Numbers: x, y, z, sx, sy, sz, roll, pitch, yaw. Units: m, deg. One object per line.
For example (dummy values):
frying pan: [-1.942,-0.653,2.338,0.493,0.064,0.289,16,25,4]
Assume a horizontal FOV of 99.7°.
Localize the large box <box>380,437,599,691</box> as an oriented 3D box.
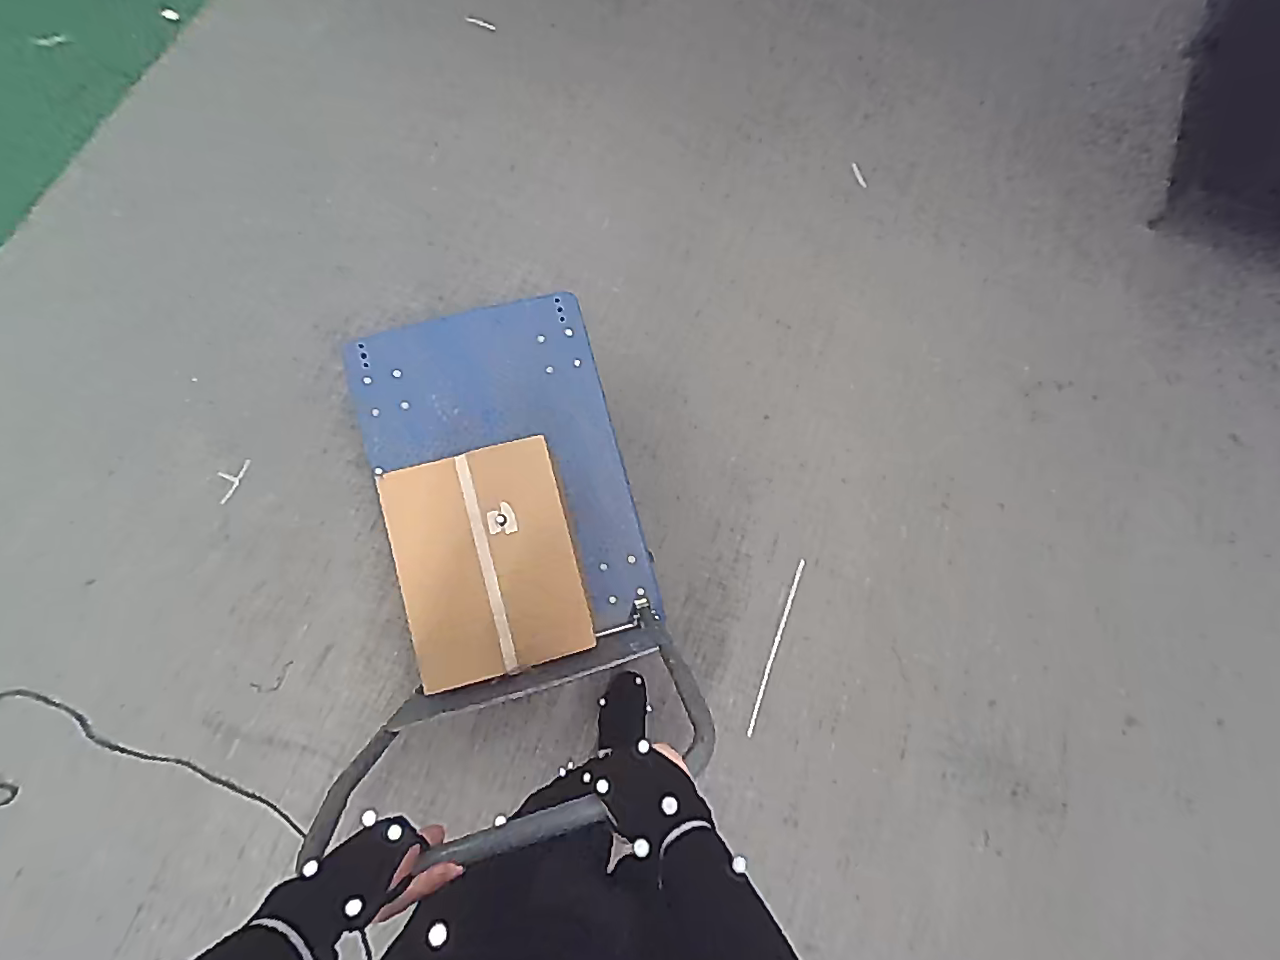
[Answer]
large box: [-0.286,0.165,1.132,0.320,0.320,0.408,-15,84,-7]
